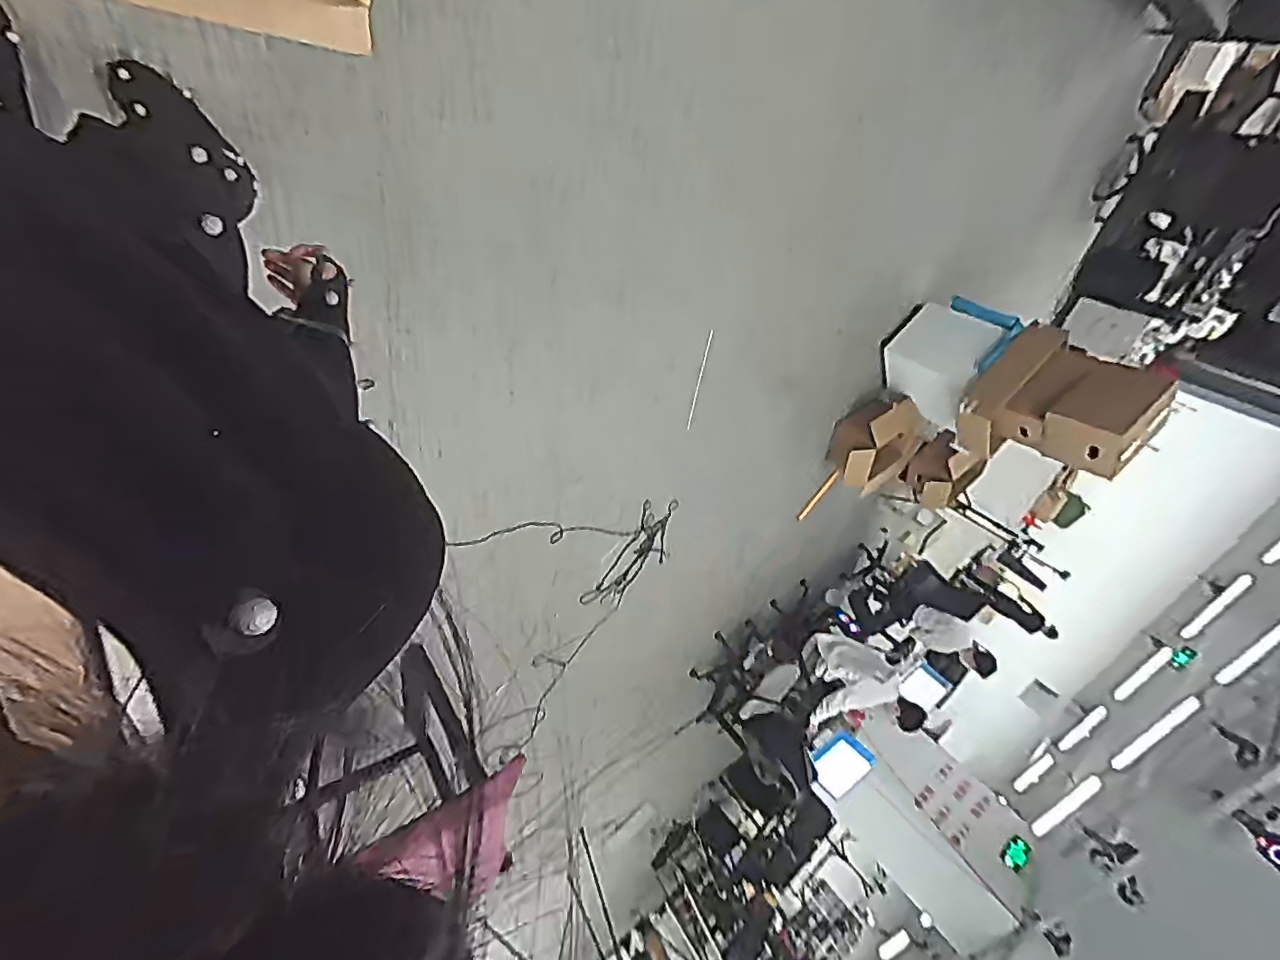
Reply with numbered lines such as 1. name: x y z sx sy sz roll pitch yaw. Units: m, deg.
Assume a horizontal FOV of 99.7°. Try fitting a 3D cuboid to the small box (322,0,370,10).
1. small box: -0.486 -0.848 0.796 0.168 0.176 0.179 7 117 -49
